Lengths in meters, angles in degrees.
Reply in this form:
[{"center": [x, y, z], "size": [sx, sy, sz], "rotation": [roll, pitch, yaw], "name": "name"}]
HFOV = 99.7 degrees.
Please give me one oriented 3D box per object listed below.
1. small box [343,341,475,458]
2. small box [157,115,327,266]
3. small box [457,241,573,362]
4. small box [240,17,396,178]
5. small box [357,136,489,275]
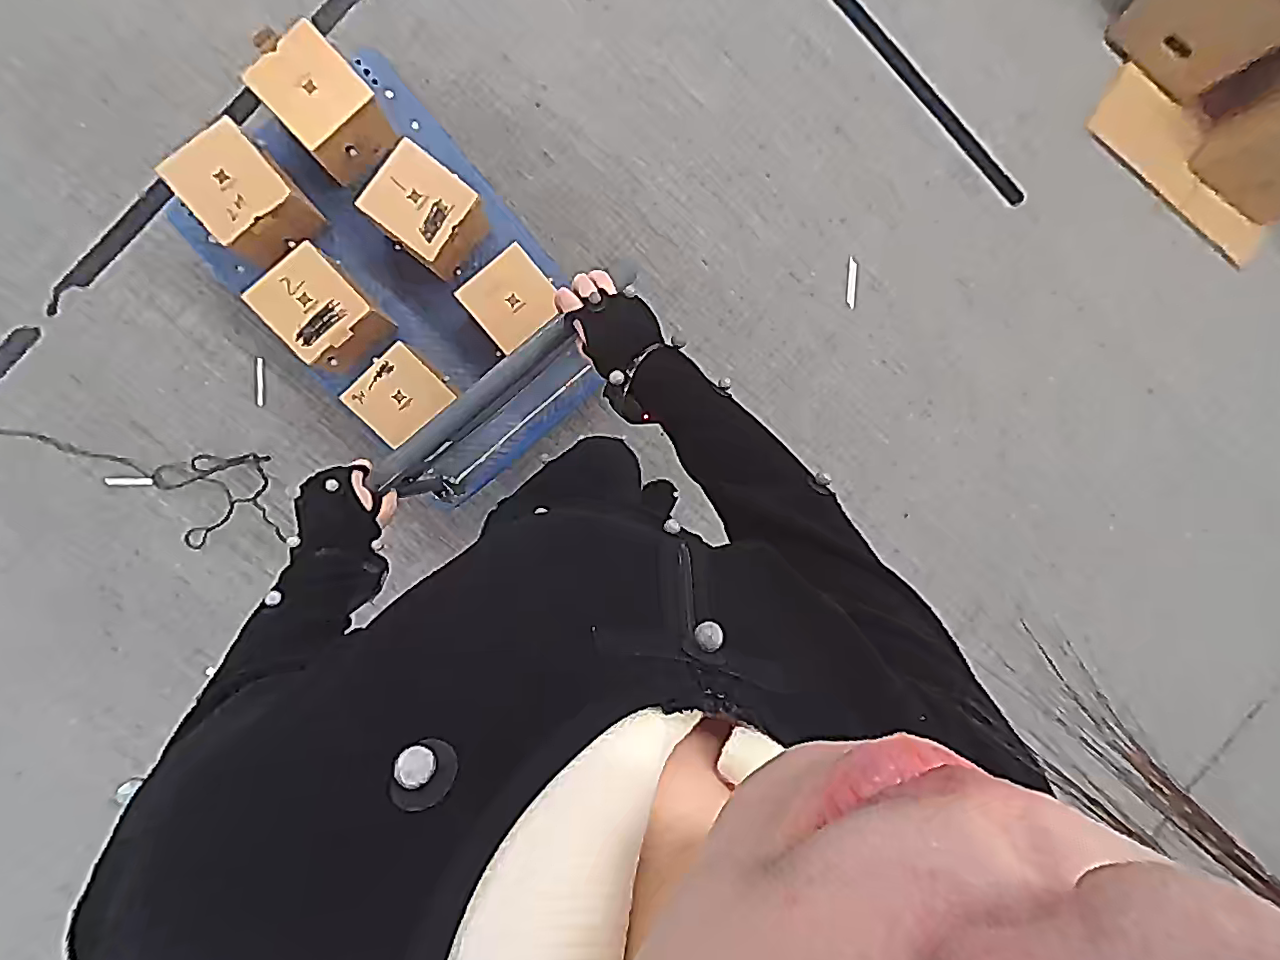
[{"center": [-0.479, -0.169, 1.156], "size": [0.168, 0.176, 0.179], "rotation": [-45, 100, -3], "name": "small box"}, {"center": [-0.776, -0.562, 1.078], "size": [0.168, 0.176, 0.179], "rotation": [-40, 100, -2], "name": "small box"}, {"center": [-0.259, -0.371, 1.167], "size": [0.168, 0.176, 0.179], "rotation": [-41, 99, -3], "name": "small box"}, {"center": [-0.627, -0.744, 1.083], "size": [0.168, 0.176, 0.179], "rotation": [-44, 99, -1], "name": "small box"}, {"center": [-0.437, -0.553, 1.125], "size": [0.179, 0.176, 0.168], "rotation": [37, 90, -9], "name": "small box"}]
